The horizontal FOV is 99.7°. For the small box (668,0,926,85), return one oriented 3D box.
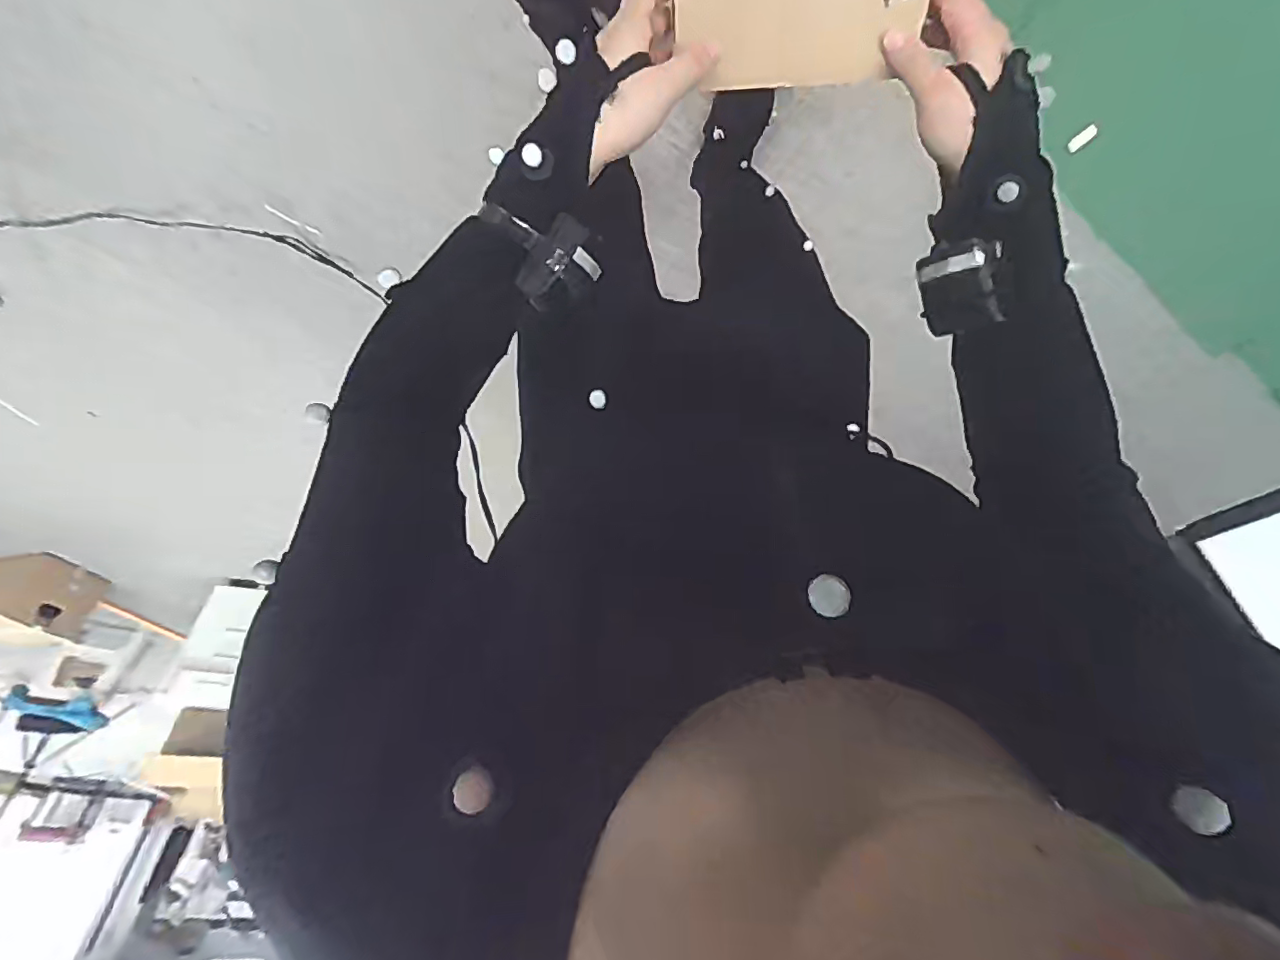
[{"bbox_3d":[0.112,-0.411,0.394,0.179,0.176,0.168,1,140,7],"label":"small box"}]
